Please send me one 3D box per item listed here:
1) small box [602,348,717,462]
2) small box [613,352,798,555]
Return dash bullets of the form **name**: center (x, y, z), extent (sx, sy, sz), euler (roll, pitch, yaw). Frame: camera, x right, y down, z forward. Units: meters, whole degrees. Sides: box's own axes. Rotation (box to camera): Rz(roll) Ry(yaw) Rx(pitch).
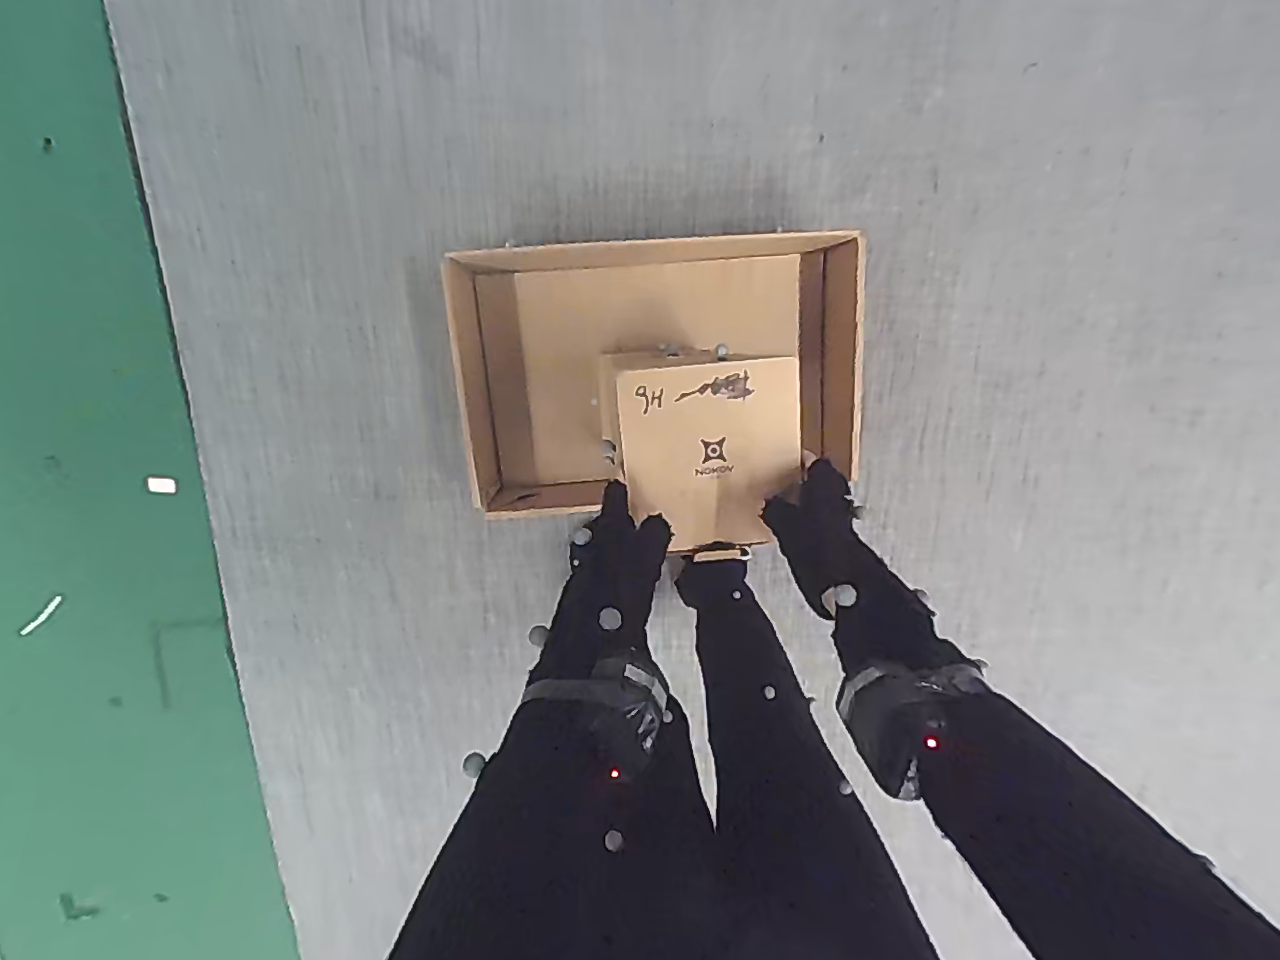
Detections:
- **small box**: center (0.031, -0.130, 0.891), extent (0.179, 0.176, 0.168), euler (-3, 104, 0)
- **small box**: center (0.061, -0.039, 0.580), extent (0.168, 0.176, 0.179), euler (-6, 105, -3)
